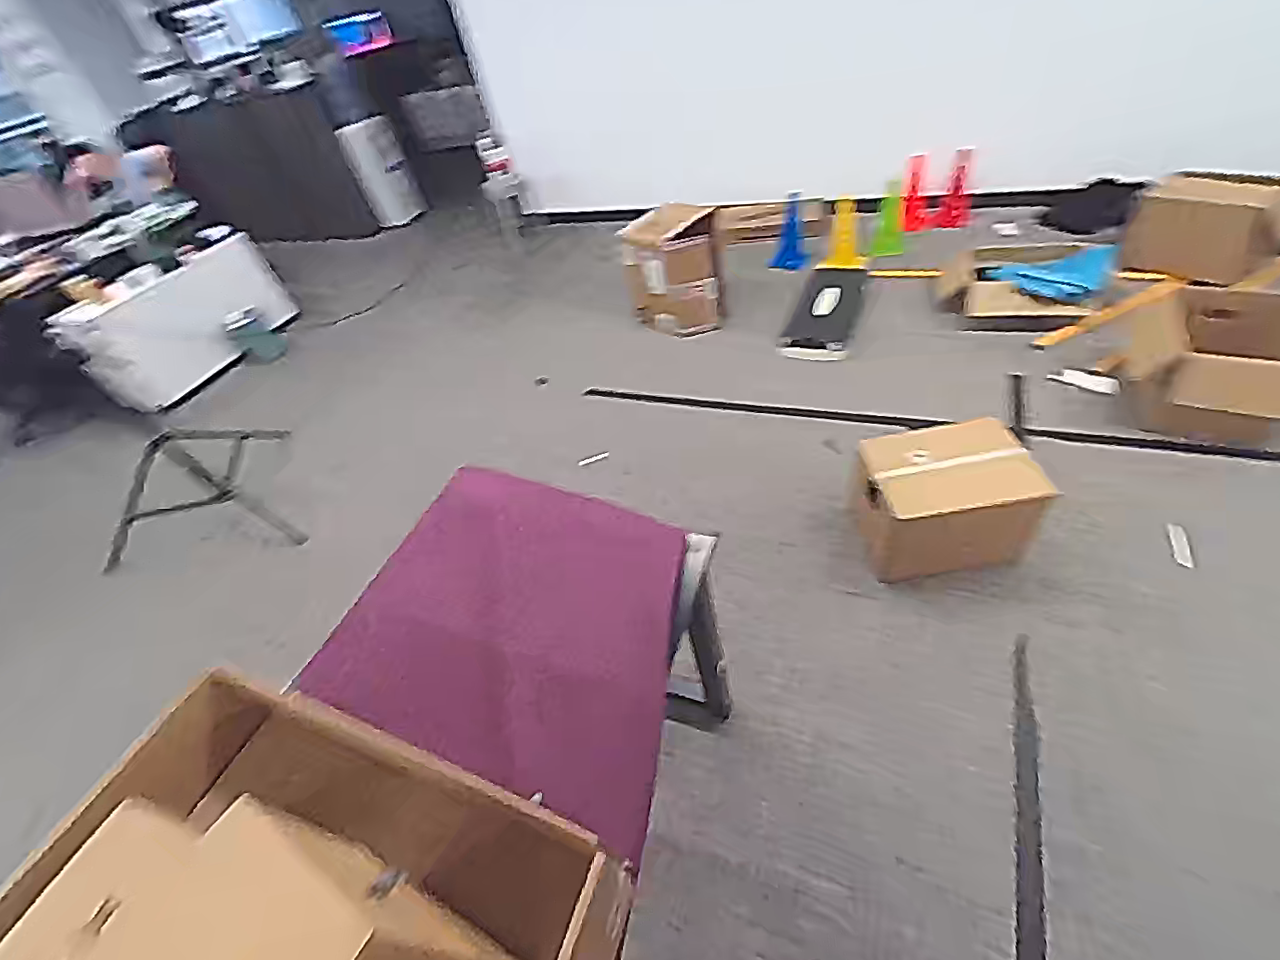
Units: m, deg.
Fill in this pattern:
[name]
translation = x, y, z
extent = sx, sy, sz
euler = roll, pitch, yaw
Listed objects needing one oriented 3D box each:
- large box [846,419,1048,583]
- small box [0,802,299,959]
[large box]
translation = 0.870, 0.067, 1.604
extent = 0.408, 0.320, 0.320
euler = -12, 44, 5
[small box]
translation = -0.499, 0.476, 0.559
extent = 0.168, 0.176, 0.179
euler = 7, 47, 20
